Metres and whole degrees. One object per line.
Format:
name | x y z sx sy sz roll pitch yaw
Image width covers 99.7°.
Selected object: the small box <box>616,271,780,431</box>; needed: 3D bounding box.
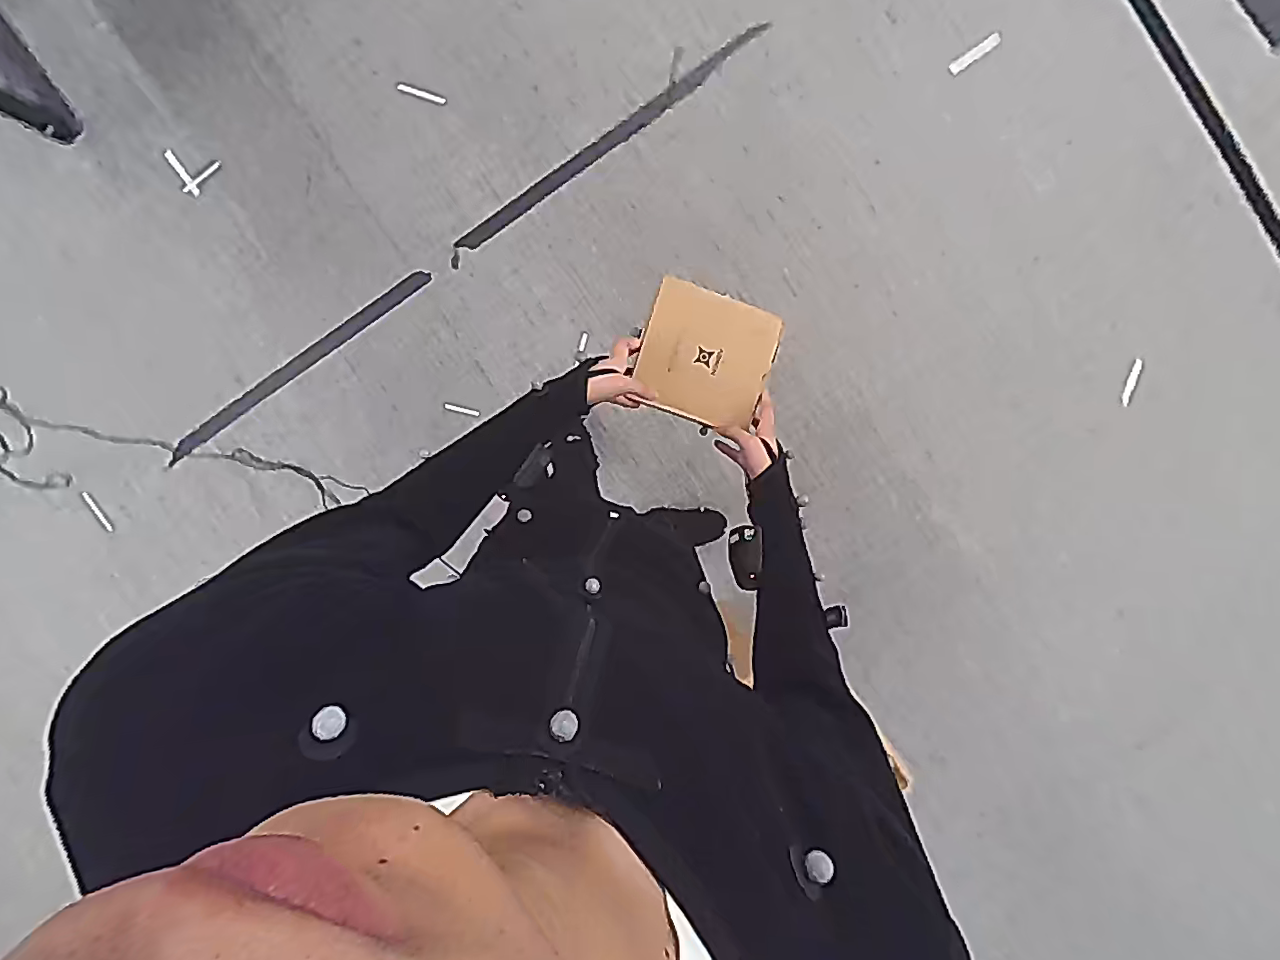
small box | 0.072 -0.179 0.785 0.179 0.176 0.168 17 96 -7
